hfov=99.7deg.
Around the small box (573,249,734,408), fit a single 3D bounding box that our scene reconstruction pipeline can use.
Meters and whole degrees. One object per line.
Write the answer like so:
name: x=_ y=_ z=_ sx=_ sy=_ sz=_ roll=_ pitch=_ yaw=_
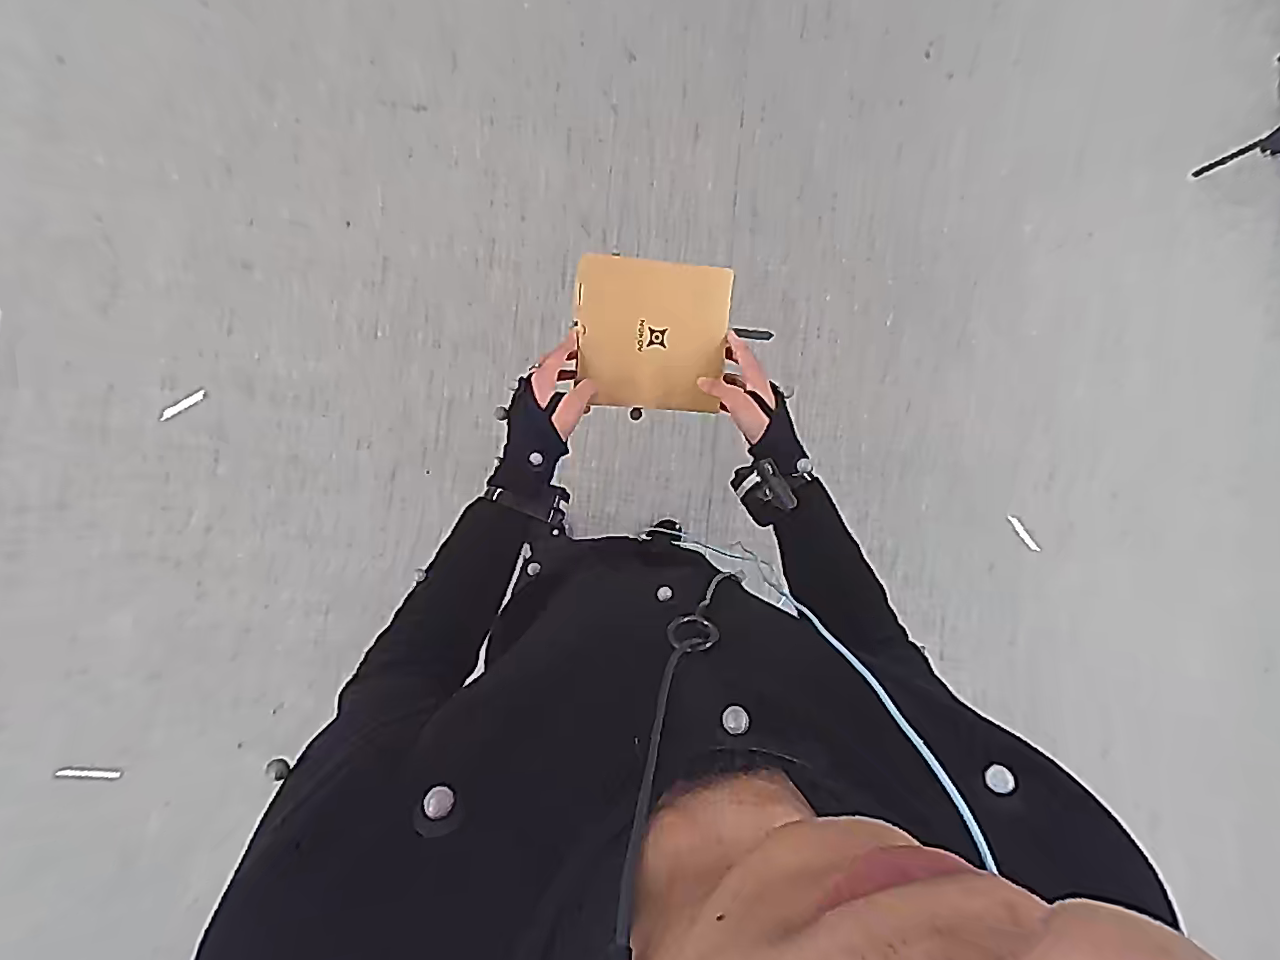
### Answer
small box: x=0.006 y=-0.187 z=0.696 sx=0.179 sy=0.176 sz=0.168 roll=3 pitch=102 yaw=-7
